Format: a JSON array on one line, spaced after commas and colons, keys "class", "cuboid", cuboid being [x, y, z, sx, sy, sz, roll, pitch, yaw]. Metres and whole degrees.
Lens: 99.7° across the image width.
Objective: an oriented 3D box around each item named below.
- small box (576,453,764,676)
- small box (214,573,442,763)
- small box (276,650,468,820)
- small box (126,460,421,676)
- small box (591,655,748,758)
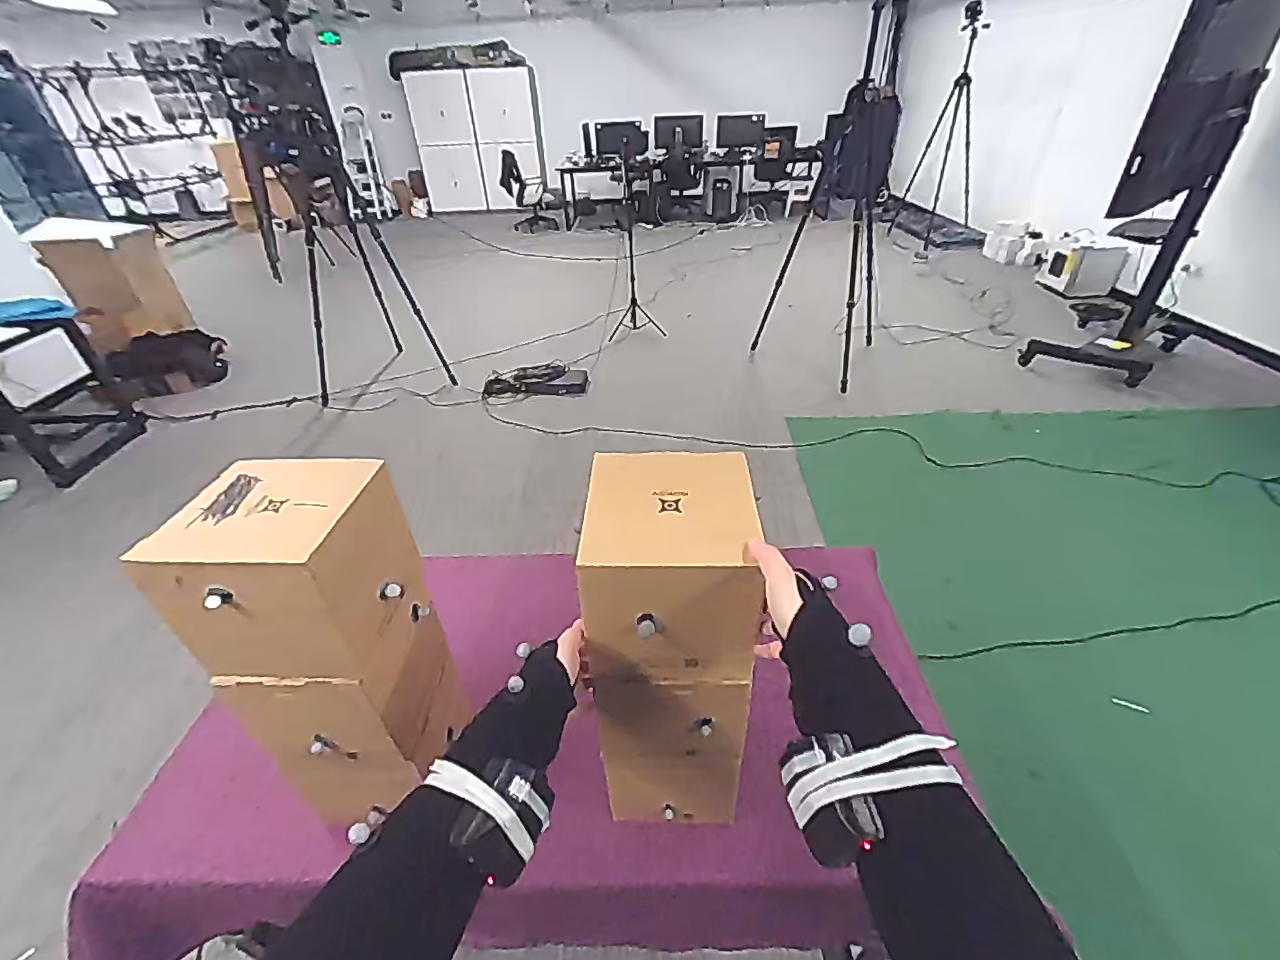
[{"class": "small box", "cuboid": [0.031, 0.089, 0.573, 0.168, 0.176, 0.179, 0, 36, 1]}, {"class": "small box", "cuboid": [-0.367, 0.227, 0.681, 0.168, 0.176, 0.179, -2, 36, 2]}, {"class": "small box", "cuboid": [-0.361, 0.364, 0.775, 0.179, 0.176, 0.168, -2, 36, 0]}, {"class": "small box", "cuboid": [-0.367, 0.093, 0.586, 0.179, 0.176, 0.168, 1, 36, 3]}, {"class": "small box", "cuboid": [0.036, 0.221, 0.667, 0.168, 0.176, 0.179, -1, 36, 2]}]
